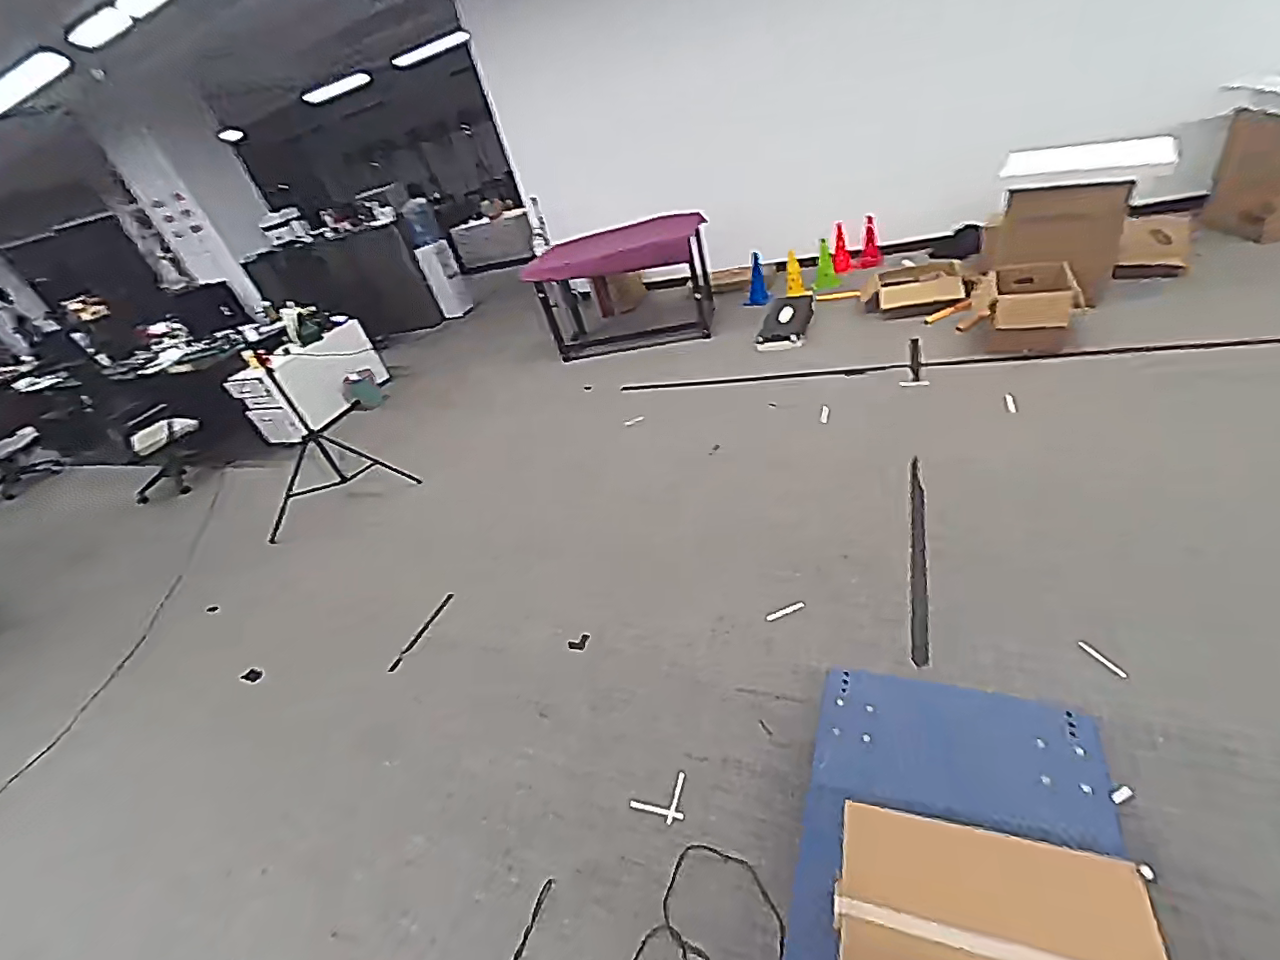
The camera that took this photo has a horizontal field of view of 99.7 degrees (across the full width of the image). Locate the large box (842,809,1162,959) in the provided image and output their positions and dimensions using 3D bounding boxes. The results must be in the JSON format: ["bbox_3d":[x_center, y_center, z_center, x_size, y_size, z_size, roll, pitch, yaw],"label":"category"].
[{"bbox_3d":[0.531,0.784,0.847,0.408,0.320,0.320,0,39,22],"label":"large box"}]
